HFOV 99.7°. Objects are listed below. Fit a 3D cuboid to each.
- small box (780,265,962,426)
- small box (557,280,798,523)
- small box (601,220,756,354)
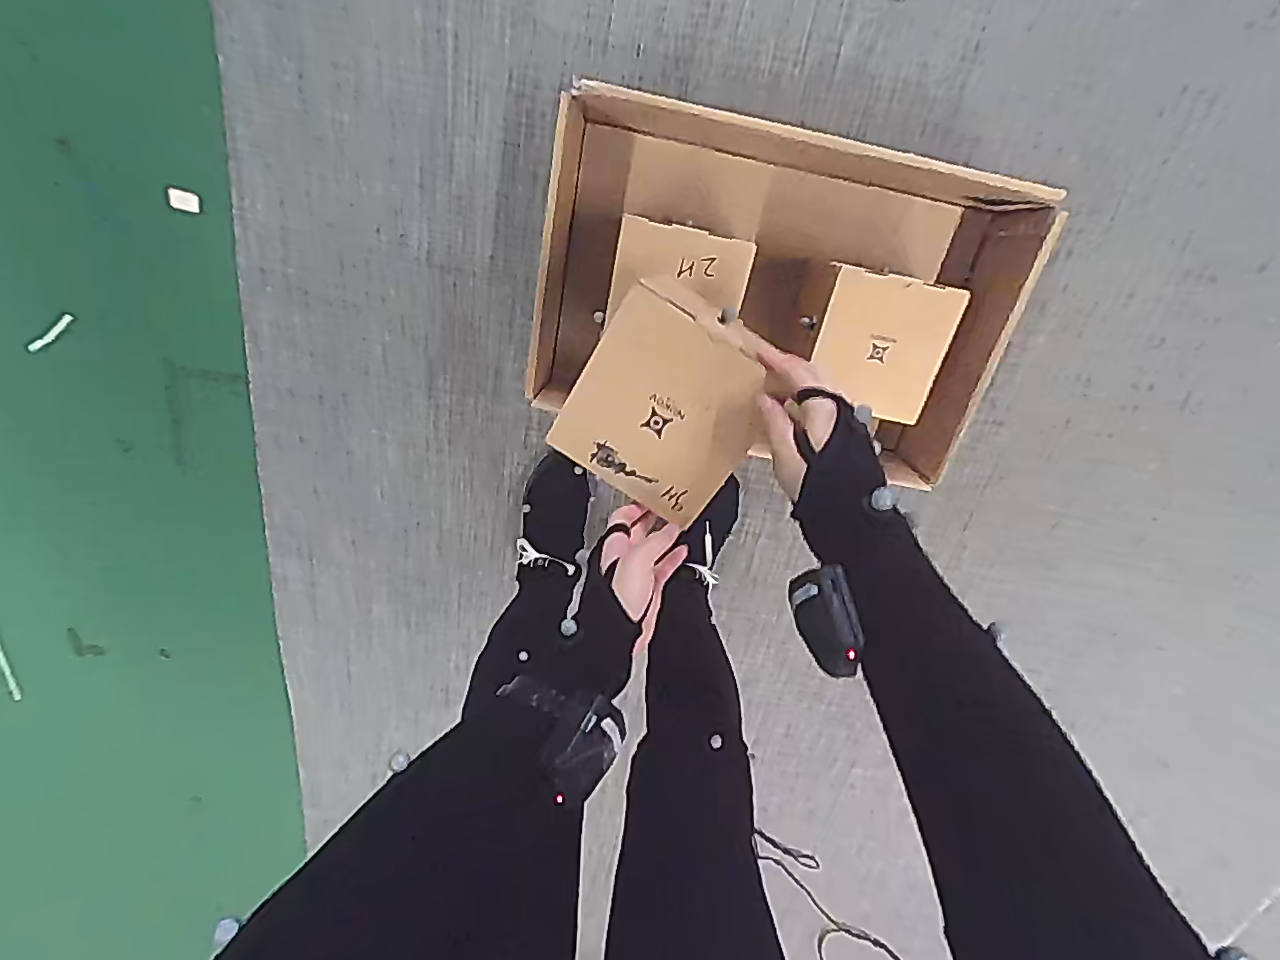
[{"bbox_3d":[0.311,-0.199,0.775,0.168,0.176,0.179,11,114,-2],"label":"small box"},{"bbox_3d":[0.040,-0.094,0.574,0.168,0.176,0.179,32,114,-3],"label":"small box"},{"bbox_3d":[0.047,-0.251,0.758,0.168,0.176,0.179,11,114,-4],"label":"small box"}]
